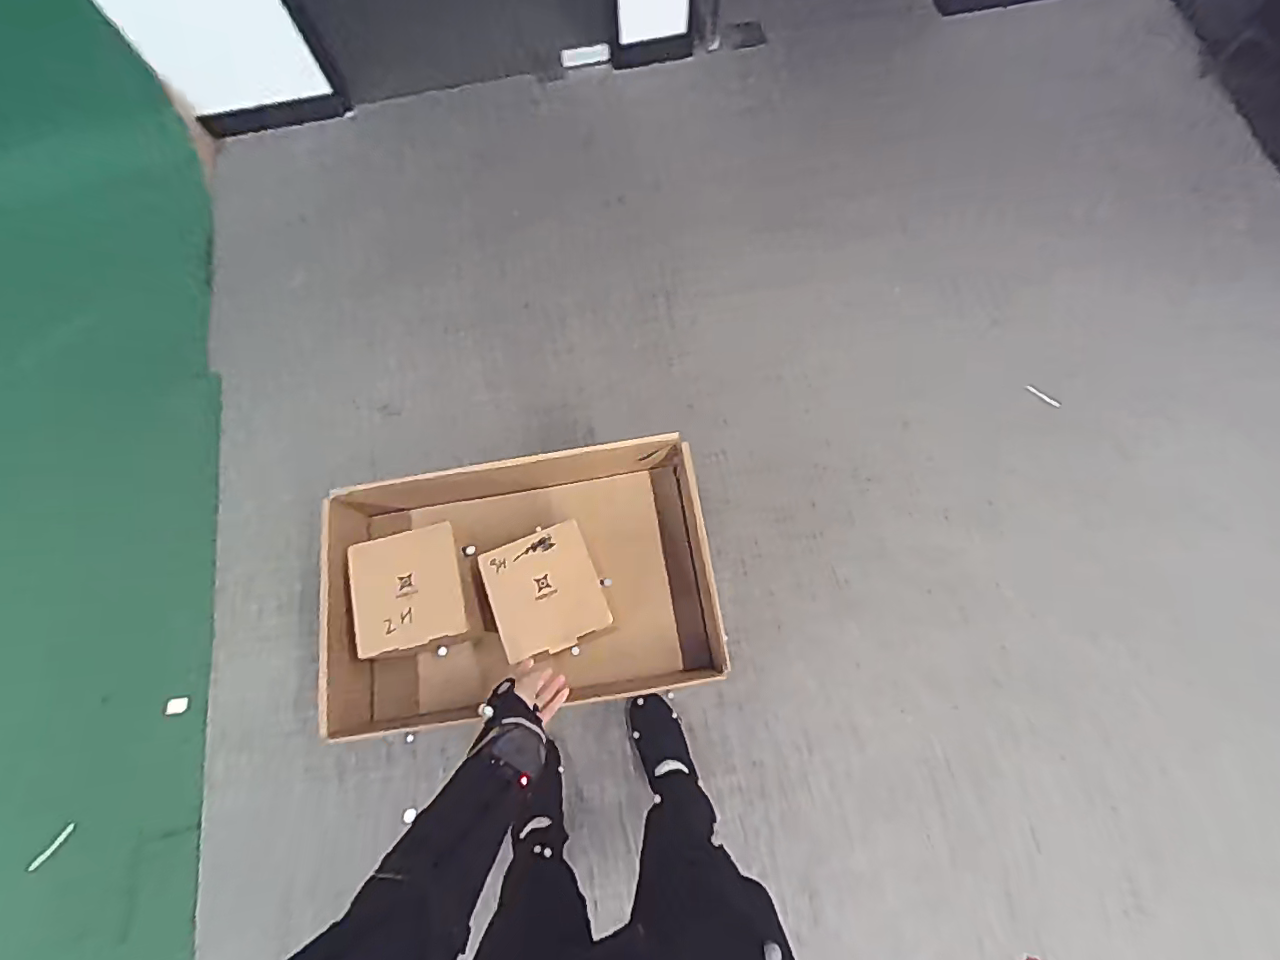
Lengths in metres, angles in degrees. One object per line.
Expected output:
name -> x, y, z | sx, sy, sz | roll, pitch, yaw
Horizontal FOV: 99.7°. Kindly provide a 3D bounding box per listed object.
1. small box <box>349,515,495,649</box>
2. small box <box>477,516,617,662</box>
small box -> -0.351, 0.174, 0.889 | 0.168, 0.176, 0.179 | -13, 73, -2
small box -> -0.141, 0.179, 0.882 | 0.168, 0.176, 0.179 | -20, 74, -5
